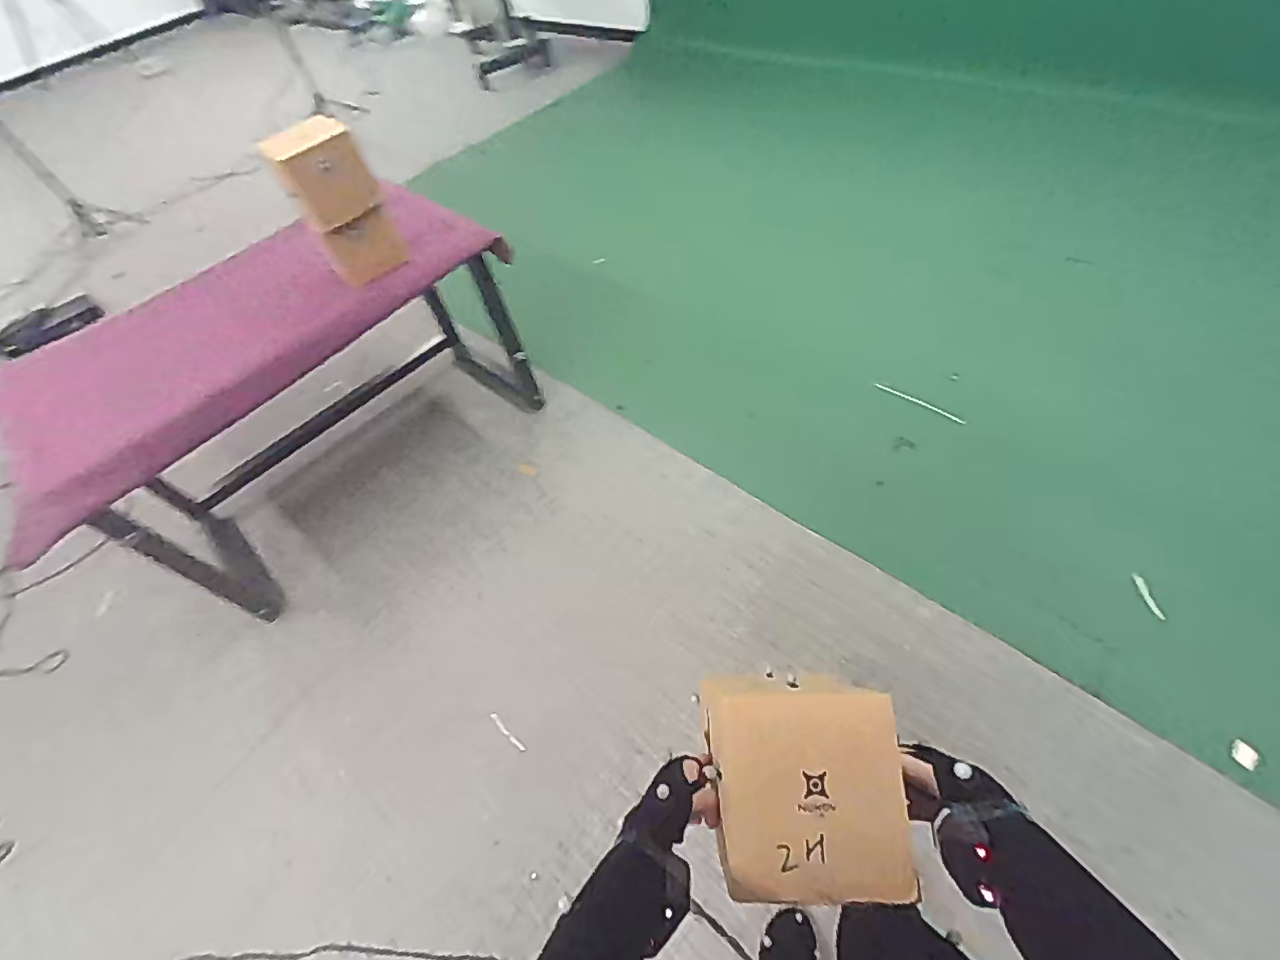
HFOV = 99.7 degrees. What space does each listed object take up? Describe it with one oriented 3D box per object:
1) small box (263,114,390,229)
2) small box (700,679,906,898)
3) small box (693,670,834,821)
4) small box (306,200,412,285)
[{"bbox_3d":[-0.741,-0.734,1.292,0.179,0.176,0.168,-40,57,-17],"label":"small box"},{"bbox_3d":[0.155,0.309,0.578,0.168,0.176,0.179,-2,73,2],"label":"small box"},{"bbox_3d":[0.165,0.352,0.737,0.179,0.176,0.168,-3,73,1],"label":"small box"},{"bbox_3d":[-0.736,-0.655,1.438,0.179,0.176,0.168,-36,56,-14],"label":"small box"}]
